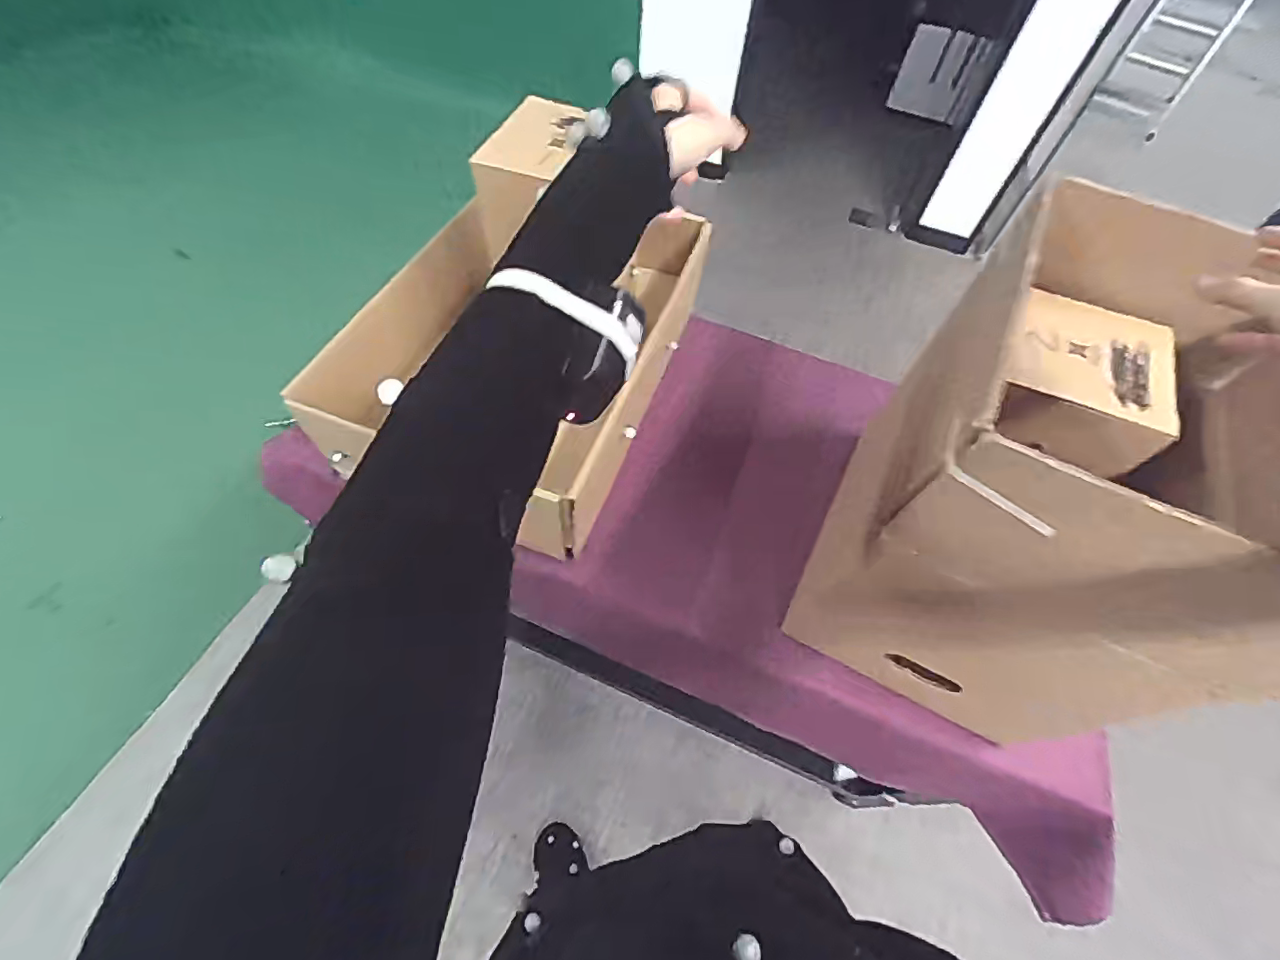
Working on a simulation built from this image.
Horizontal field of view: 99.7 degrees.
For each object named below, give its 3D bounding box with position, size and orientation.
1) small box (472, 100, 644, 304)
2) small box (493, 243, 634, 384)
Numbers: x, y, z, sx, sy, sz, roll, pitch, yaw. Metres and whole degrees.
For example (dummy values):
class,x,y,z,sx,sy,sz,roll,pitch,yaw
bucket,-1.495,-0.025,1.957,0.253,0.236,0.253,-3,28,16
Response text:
class,x,y,z,sx,sy,sz,roll,pitch,yaw
small box,-0.103,-0.376,0.742,0.168,0.176,0.179,17,60,8
small box,-0.113,-0.283,0.878,0.168,0.176,0.179,16,59,7
